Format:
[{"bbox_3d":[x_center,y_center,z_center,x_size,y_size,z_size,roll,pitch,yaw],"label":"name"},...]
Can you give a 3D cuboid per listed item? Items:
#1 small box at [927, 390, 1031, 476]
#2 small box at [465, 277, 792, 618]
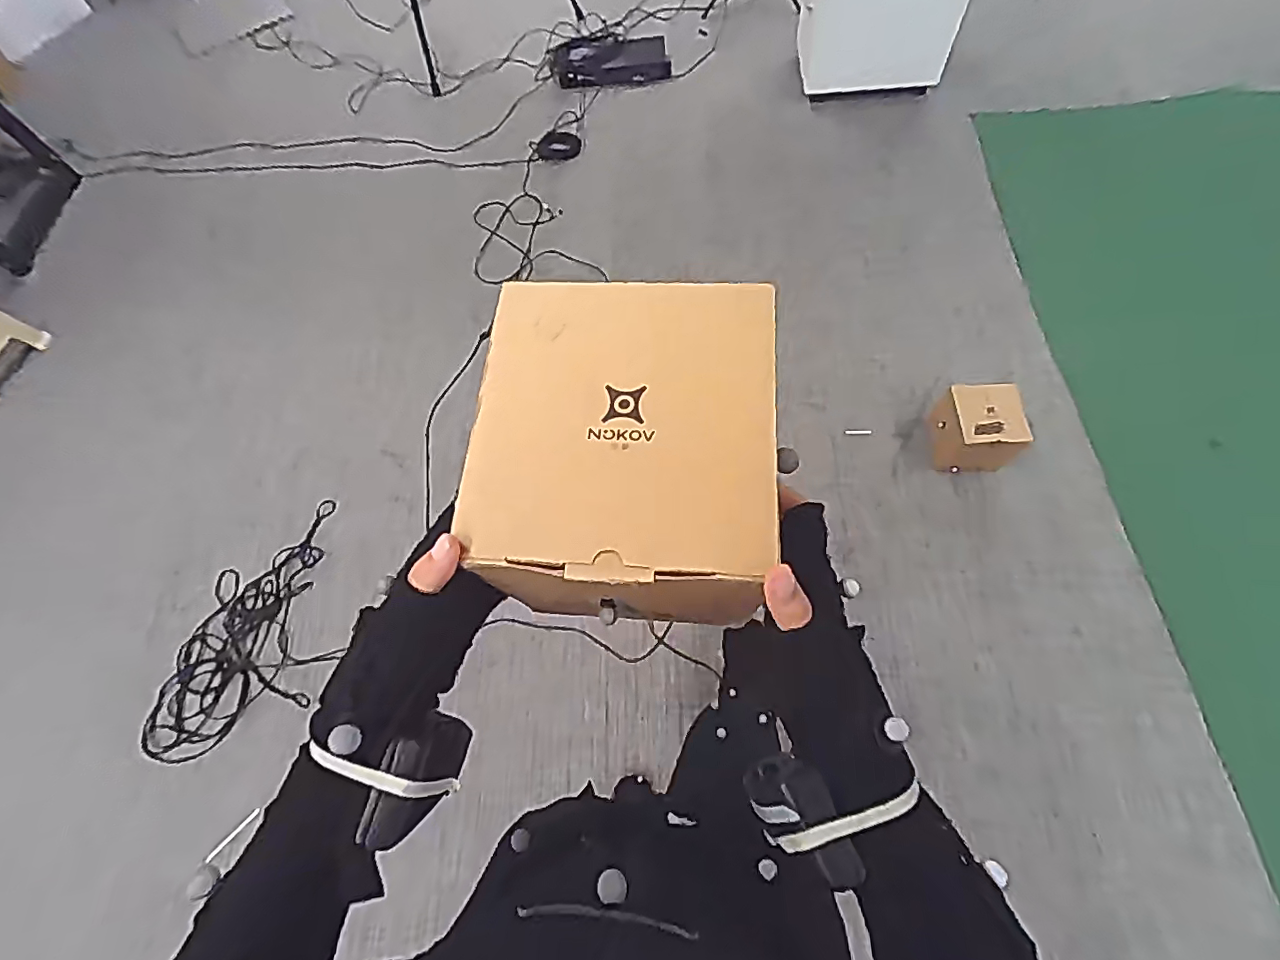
[{"bbox_3d":[0.896,-0.120,1.448,0.168,0.176,0.179,0,64,5],"label":"small box"},{"bbox_3d":[0.004,-0.010,0.370,0.168,0.176,0.179,3,69,5],"label":"small box"}]
